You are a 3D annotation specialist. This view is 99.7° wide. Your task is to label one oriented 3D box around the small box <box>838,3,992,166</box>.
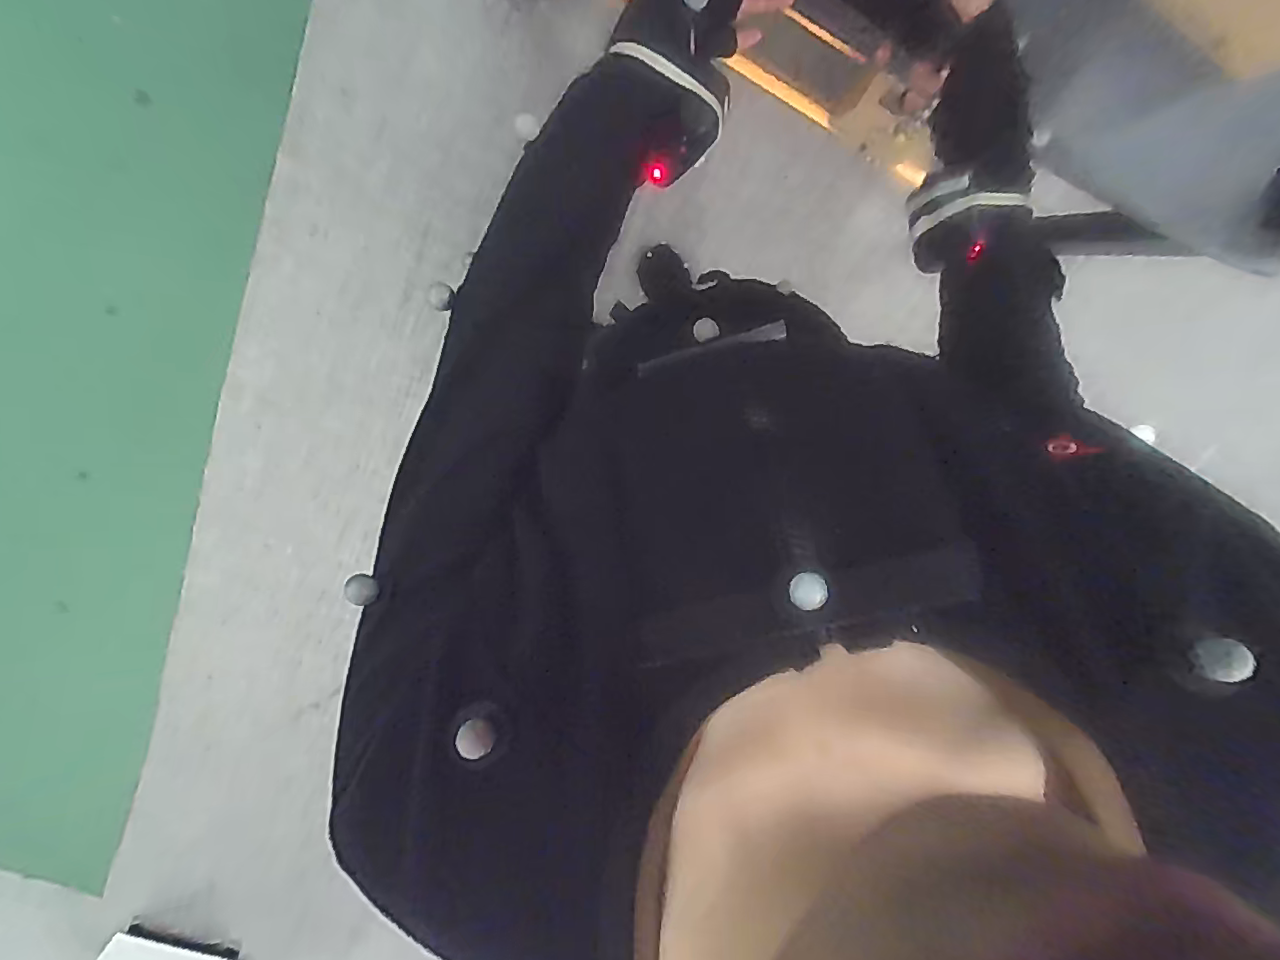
[{"bbox_3d":[0.505,-0.732,1.029,0.168,0.176,0.179,27,110,-12],"label":"small box"}]
